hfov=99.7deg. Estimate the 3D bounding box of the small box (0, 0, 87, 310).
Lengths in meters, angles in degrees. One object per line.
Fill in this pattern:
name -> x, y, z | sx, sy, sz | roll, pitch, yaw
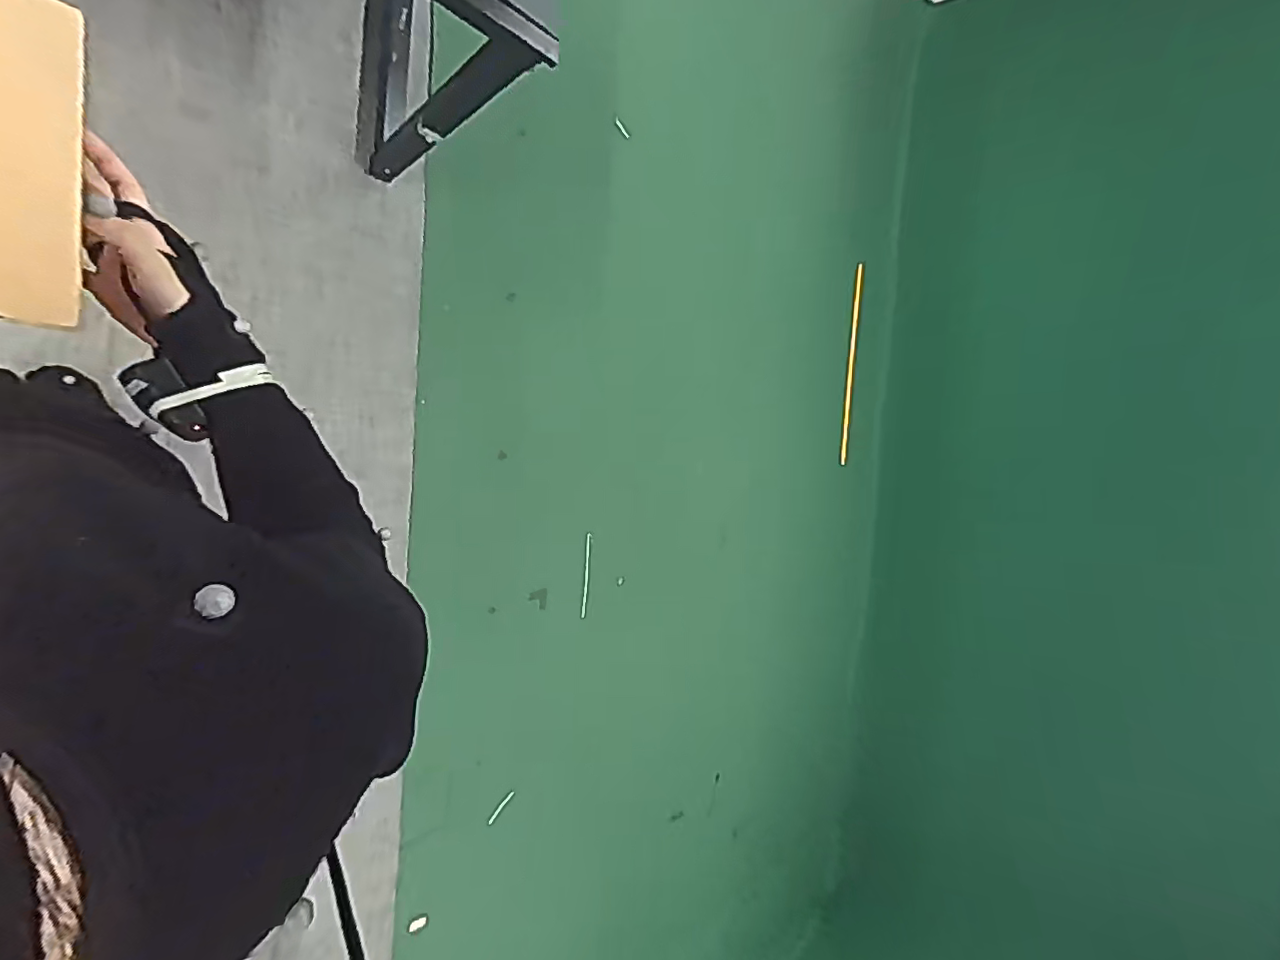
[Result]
small box -> -0.429, -0.203, 0.292 | 0.168, 0.176, 0.179 | -2, 107, -51
